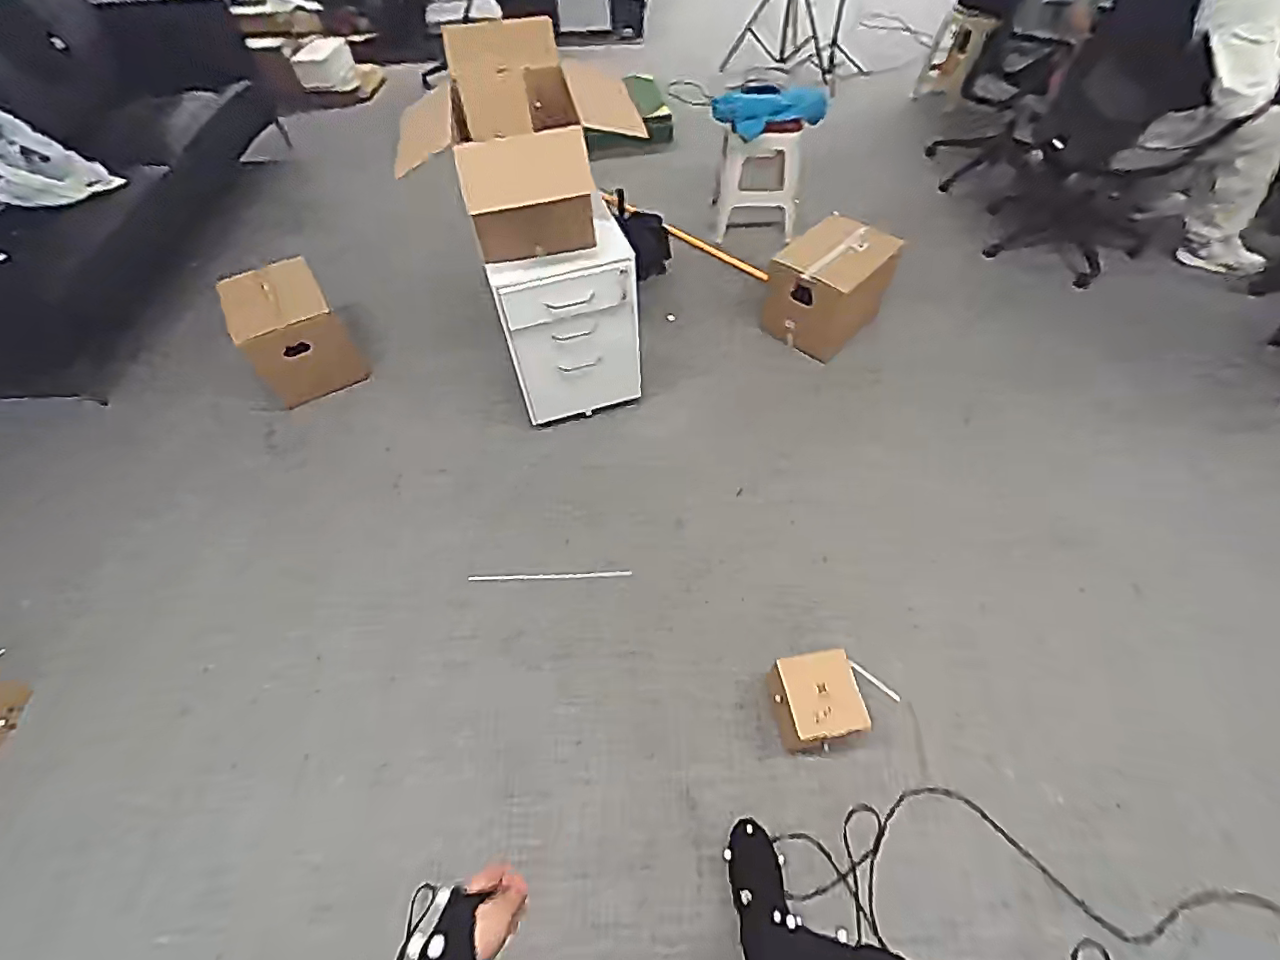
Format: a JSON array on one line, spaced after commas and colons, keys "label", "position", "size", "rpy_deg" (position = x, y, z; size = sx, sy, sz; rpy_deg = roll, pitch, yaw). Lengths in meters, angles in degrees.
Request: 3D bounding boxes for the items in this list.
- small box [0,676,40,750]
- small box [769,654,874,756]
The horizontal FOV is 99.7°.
[{"label": "small box", "position": [-1.694, 0.580, 1.345], "size": [0.179, 0.176, 0.168], "rpy_deg": [0, 55, 1]}, {"label": "small box", "position": [0.413, 0.530, 1.270], "size": [0.168, 0.176, 0.179], "rpy_deg": [-8, 55, -3]}]
